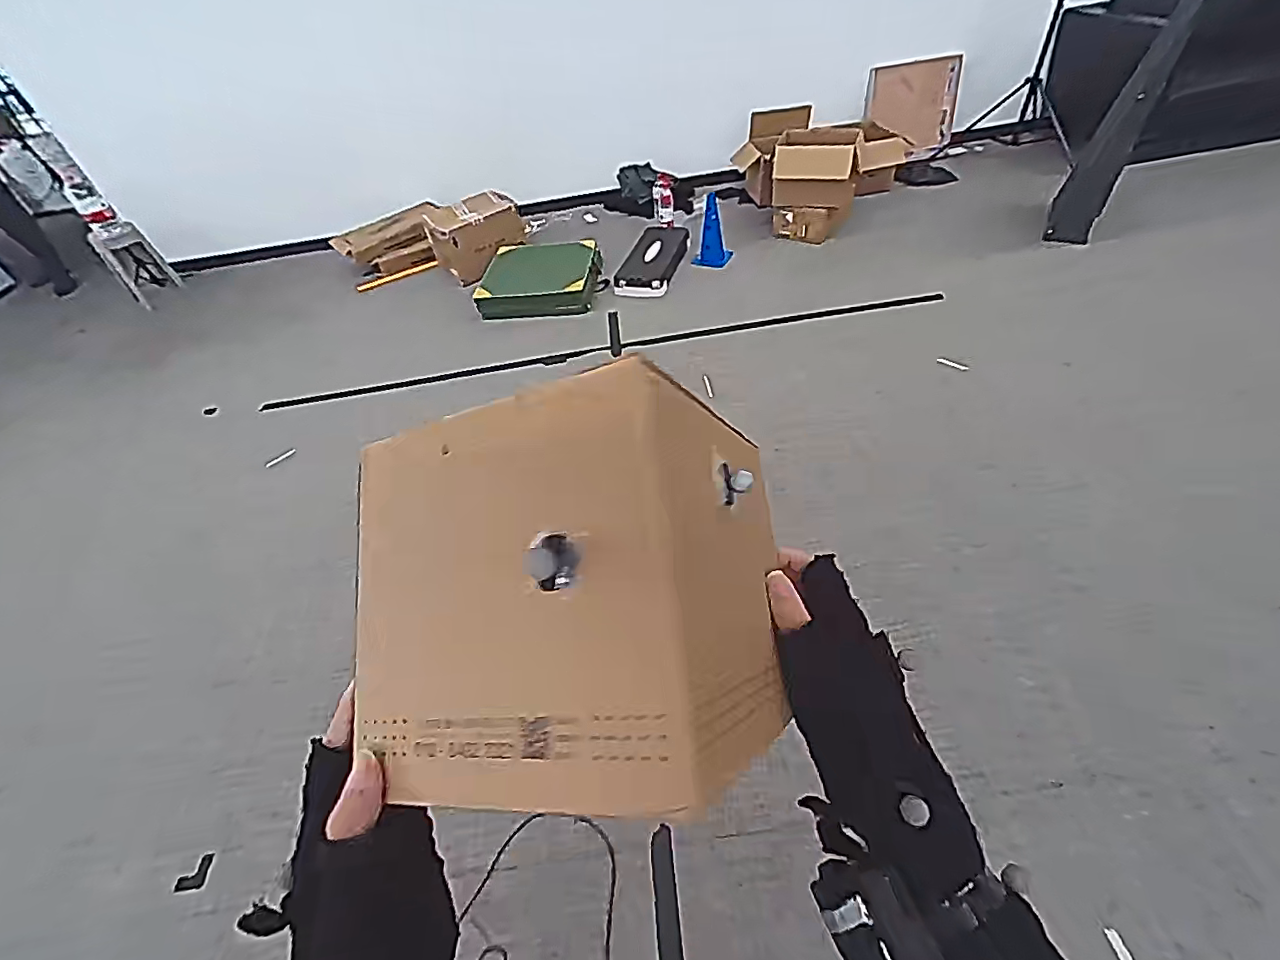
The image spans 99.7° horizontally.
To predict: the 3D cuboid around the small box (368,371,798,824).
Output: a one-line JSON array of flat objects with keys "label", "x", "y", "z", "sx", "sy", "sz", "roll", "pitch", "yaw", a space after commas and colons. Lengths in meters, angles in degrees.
[{"label": "small box", "x": -0.022, "y": 0.066, "z": 0.300, "sx": 0.168, "sy": 0.179, "sz": 0.176, "roll": -13, "pitch": 74, "yaw": 28}]
